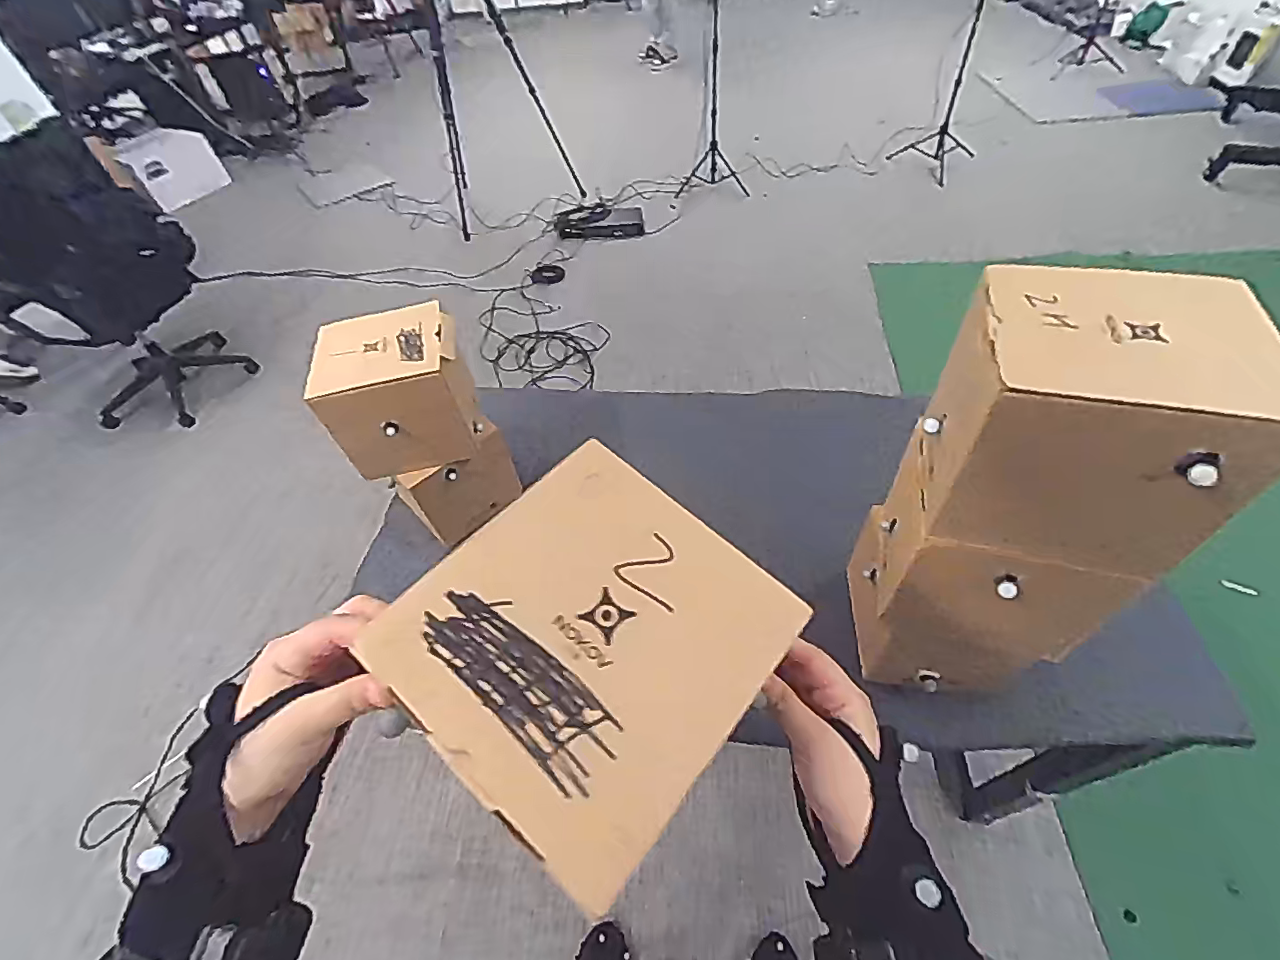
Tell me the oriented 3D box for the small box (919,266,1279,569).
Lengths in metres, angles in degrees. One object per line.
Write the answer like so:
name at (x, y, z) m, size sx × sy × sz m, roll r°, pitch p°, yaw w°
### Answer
small box at (0.347, -0.048, 0.438) m, size 0.179 × 0.176 × 0.168 m, roll 11°, pitch 51°, yaw 17°

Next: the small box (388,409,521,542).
small box at (-0.333, -0.026, 0.927) m, size 0.168 × 0.176 × 0.179 m, roll -39°, pitch 57°, yaw -23°

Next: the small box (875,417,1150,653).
small box at (0.359, 0.060, 0.562) m, size 0.179 × 0.176 × 0.168 m, roll 9°, pitch 51°, yaw 16°

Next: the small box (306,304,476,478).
small box at (-0.348, -0.127, 0.797) m, size 0.179 × 0.176 × 0.168 m, roll -13°, pitch 51°, yaw -4°

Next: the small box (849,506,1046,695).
small box at (0.376, 0.153, 0.694) m, size 0.168 × 0.176 × 0.179 m, roll 1°, pitch 50°, yaw 9°
